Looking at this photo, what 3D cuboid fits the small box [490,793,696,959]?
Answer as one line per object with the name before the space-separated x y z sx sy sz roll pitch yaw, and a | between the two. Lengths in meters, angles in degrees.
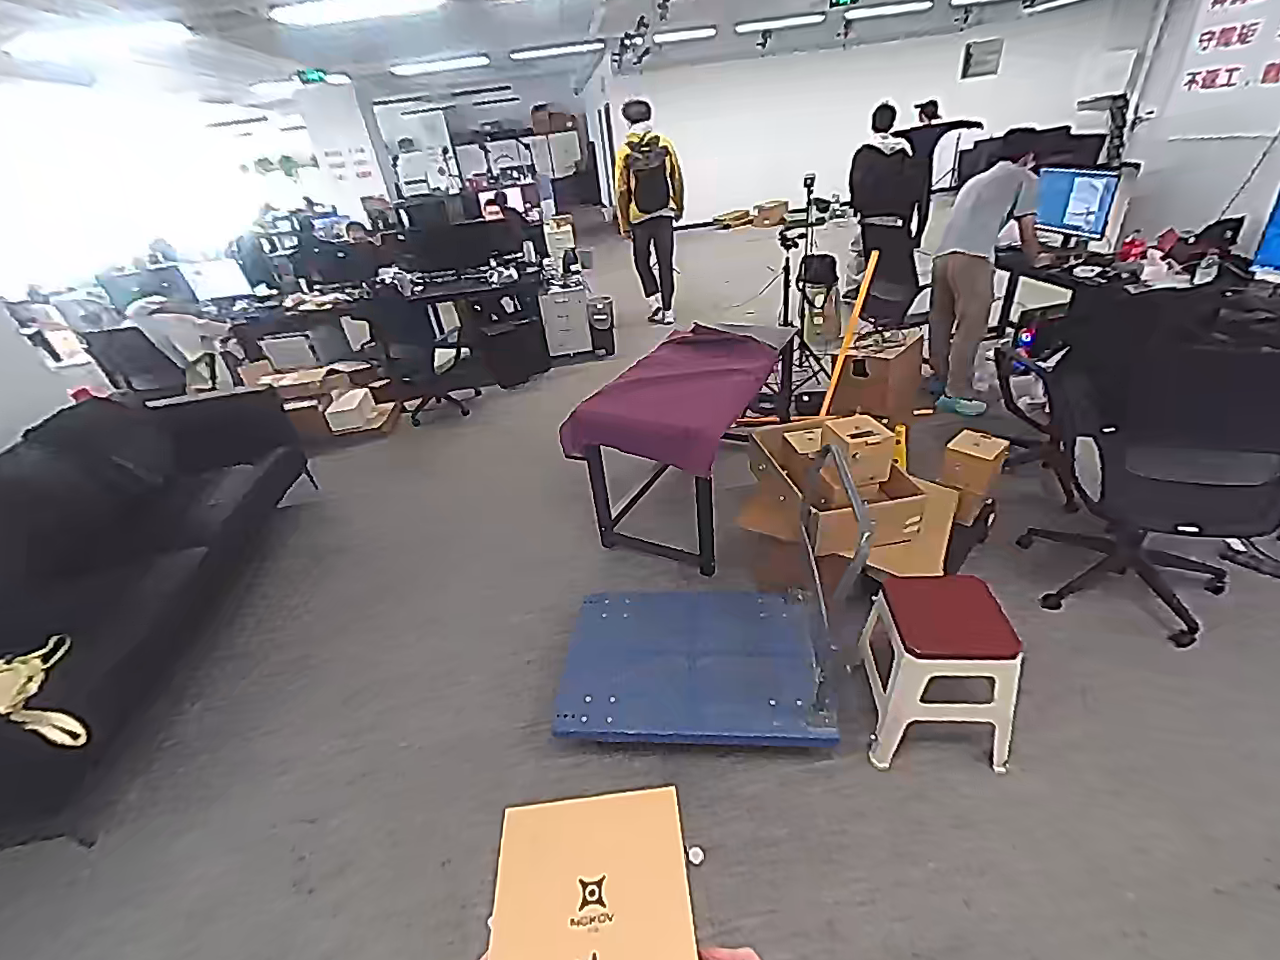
small box | -0.034 0.425 0.498 0.168 0.176 0.179 -6 34 0
